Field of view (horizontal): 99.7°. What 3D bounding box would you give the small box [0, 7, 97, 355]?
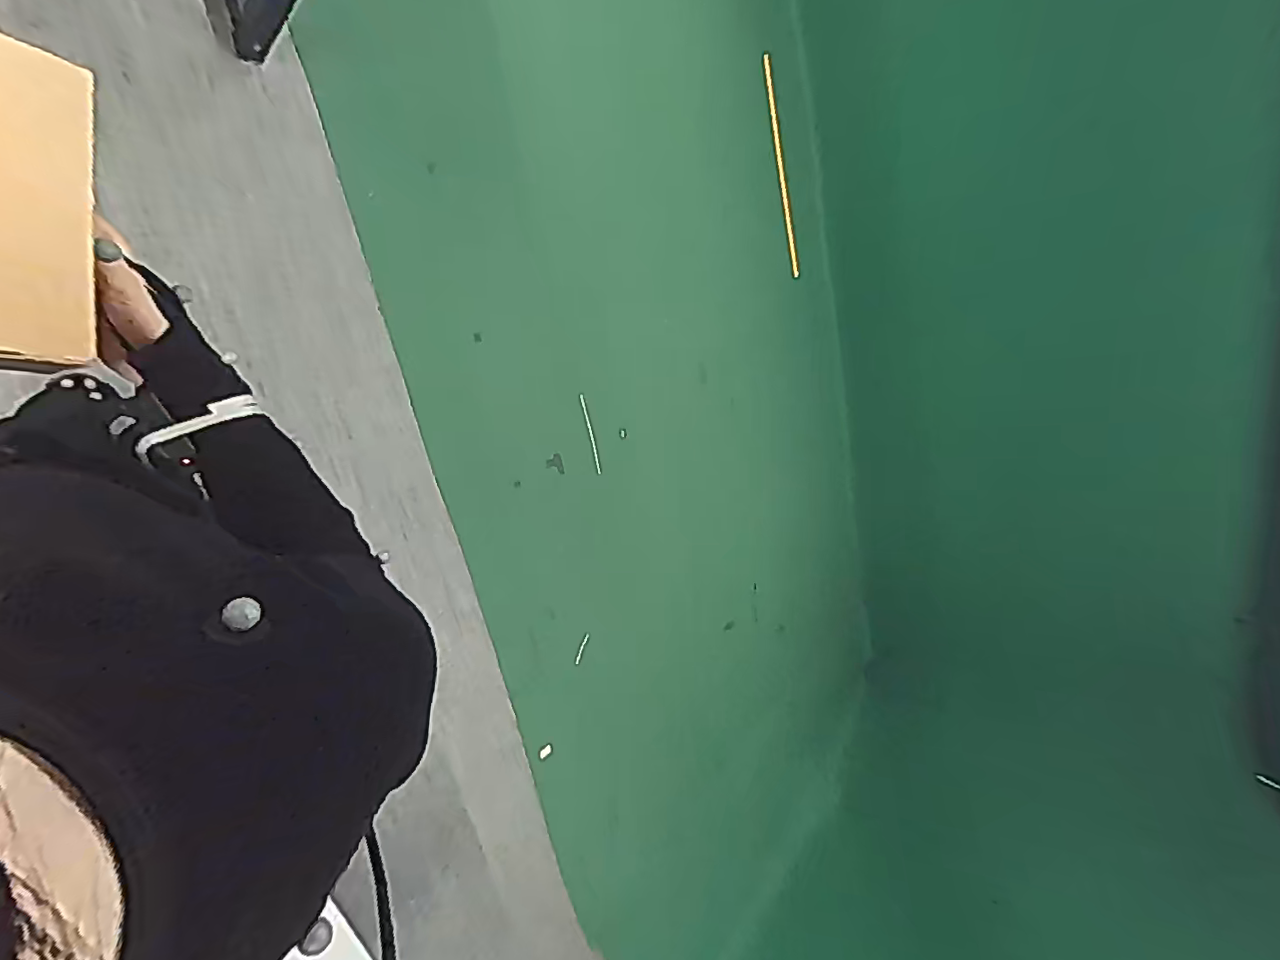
[{"bbox_3d":[-0.436,-0.172,0.300,0.168,0.176,0.179,-3,98,-54],"label":"small box"}]
